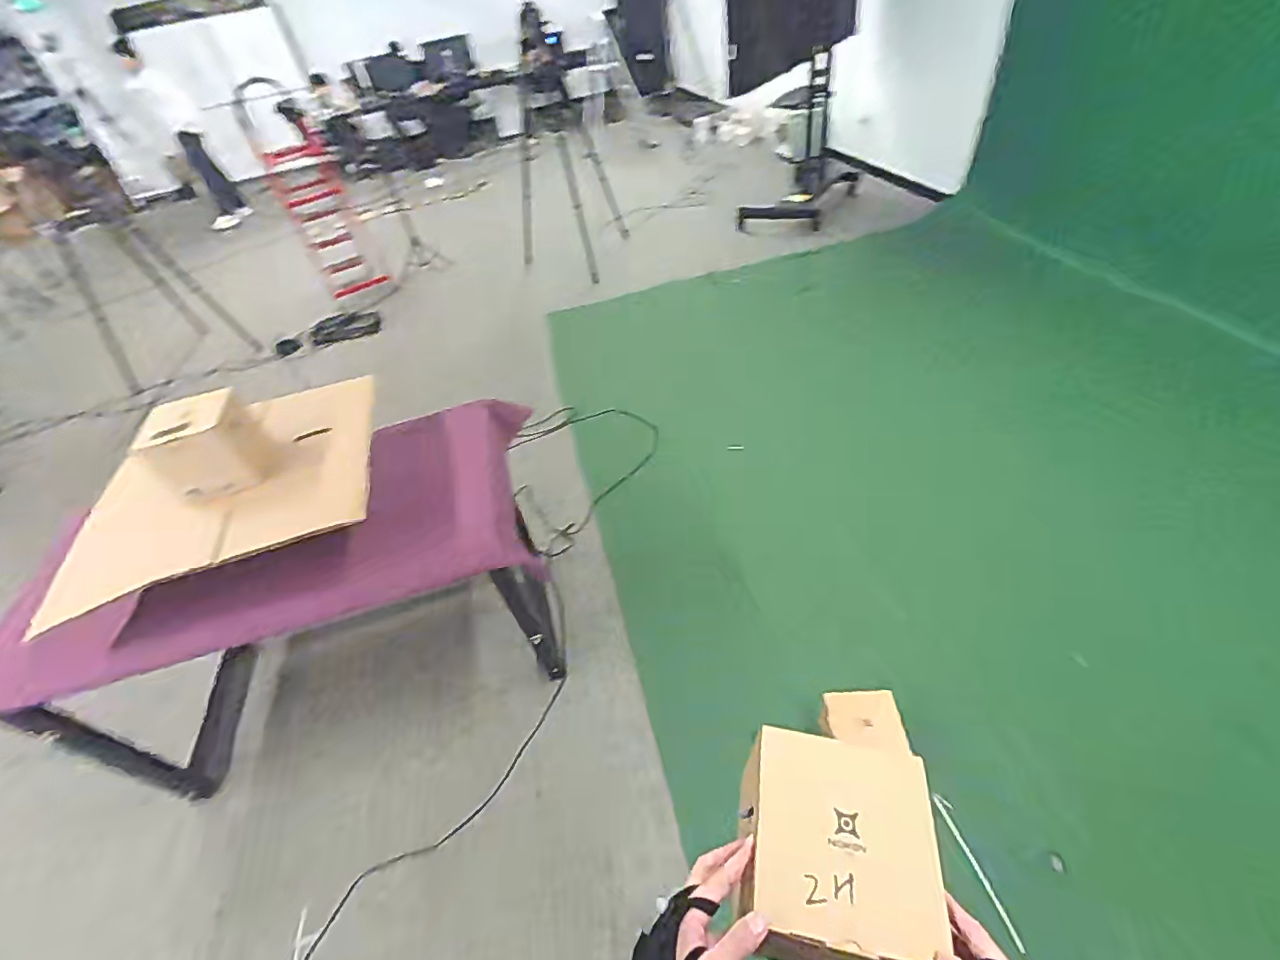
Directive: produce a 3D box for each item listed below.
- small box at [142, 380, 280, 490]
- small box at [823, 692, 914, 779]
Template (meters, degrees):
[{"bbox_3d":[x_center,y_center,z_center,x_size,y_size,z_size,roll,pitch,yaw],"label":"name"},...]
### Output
[{"bbox_3d":[-0.963,-0.097,1.236,0.168,0.176,0.179,-17,44,-8],"label":"small box"},{"bbox_3d":[0.595,0.679,1.433,0.179,0.176,0.168,-6,44,8],"label":"small box"}]
